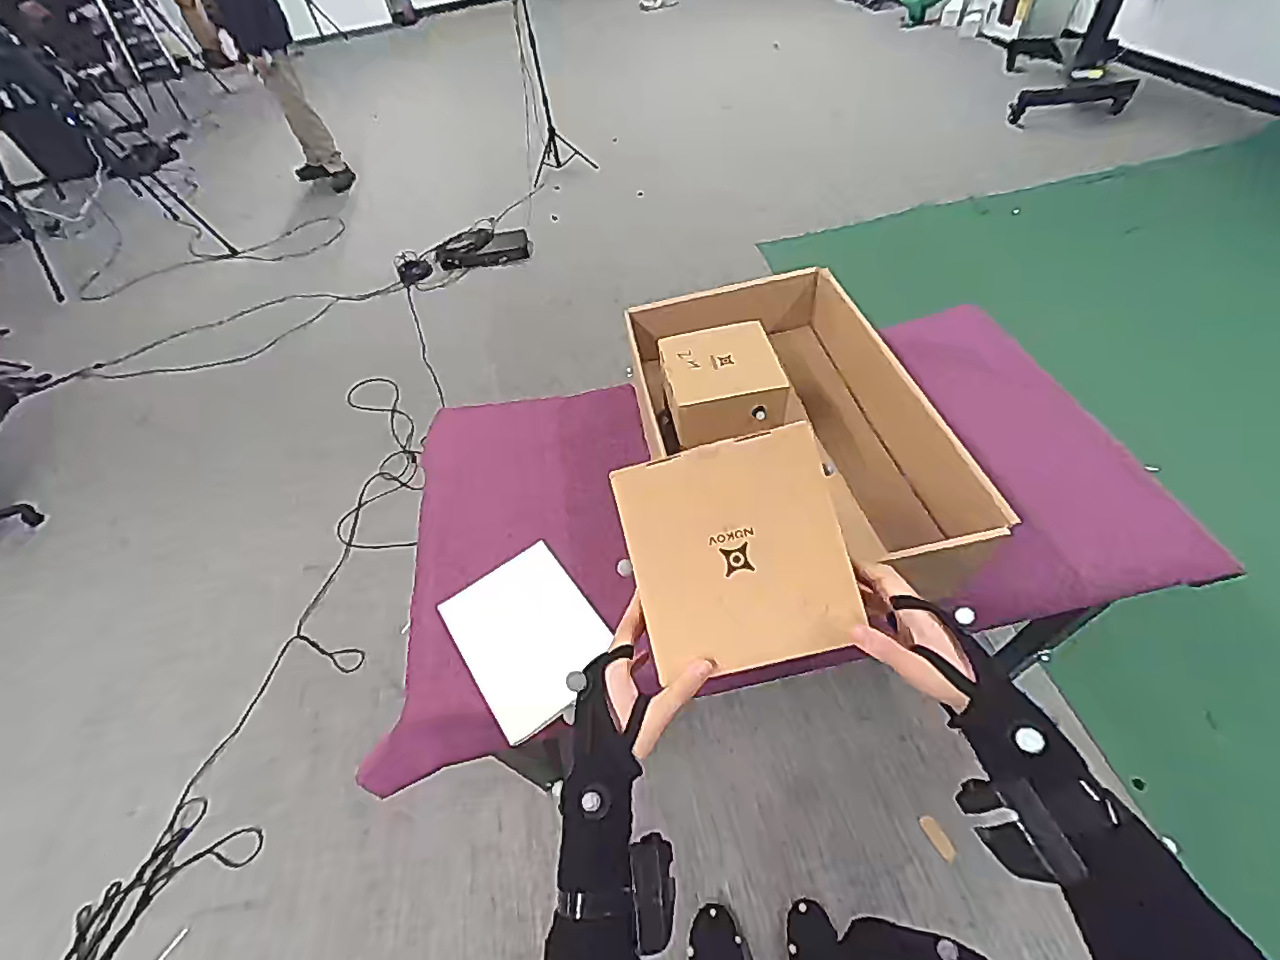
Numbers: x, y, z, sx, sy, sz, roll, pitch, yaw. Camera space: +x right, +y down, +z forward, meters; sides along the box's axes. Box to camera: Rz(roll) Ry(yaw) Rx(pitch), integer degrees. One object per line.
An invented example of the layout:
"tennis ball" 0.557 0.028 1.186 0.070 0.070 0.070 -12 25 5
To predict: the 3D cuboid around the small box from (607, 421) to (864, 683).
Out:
"small box" 0.081 0.062 0.498 0.168 0.176 0.179 -15 83 5
